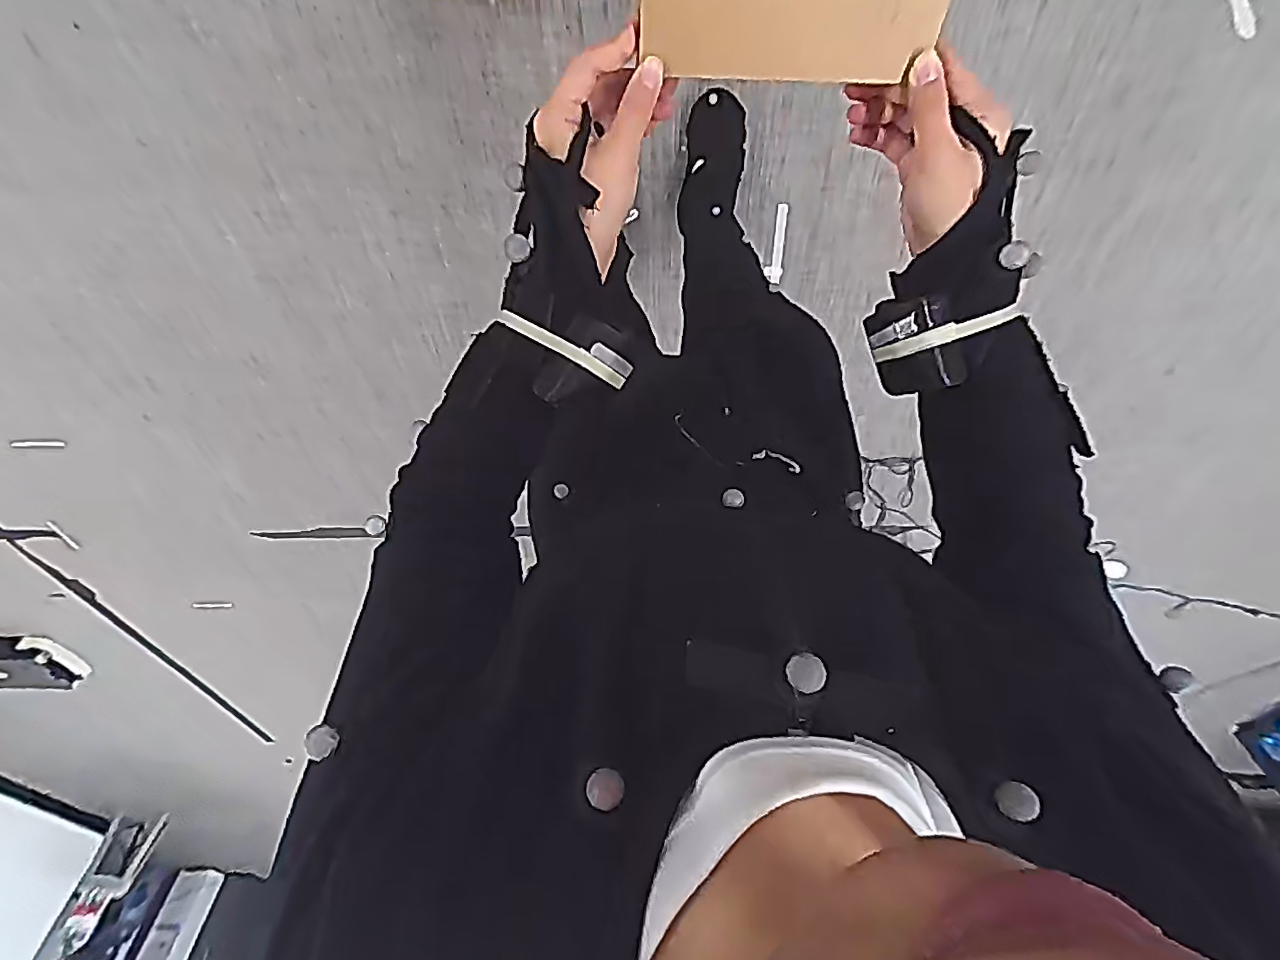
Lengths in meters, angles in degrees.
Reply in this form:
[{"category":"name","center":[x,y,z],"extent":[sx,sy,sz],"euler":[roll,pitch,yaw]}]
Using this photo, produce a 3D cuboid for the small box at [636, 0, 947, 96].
[{"category":"small box","center":[0.083,-0.347,0.307],"extent":[0.168,0.176,0.179],"euler":[0,137,-3]}]
